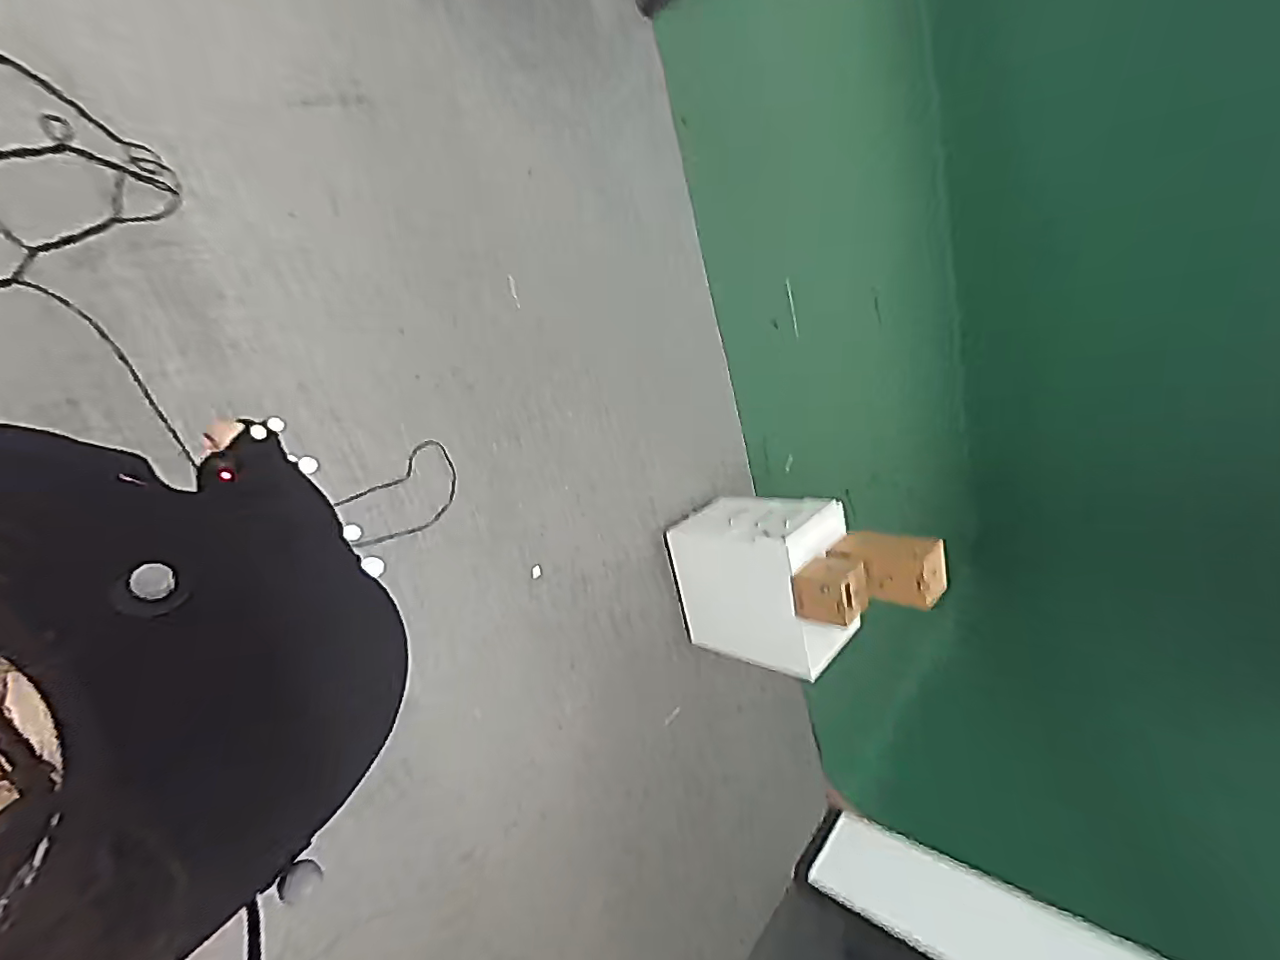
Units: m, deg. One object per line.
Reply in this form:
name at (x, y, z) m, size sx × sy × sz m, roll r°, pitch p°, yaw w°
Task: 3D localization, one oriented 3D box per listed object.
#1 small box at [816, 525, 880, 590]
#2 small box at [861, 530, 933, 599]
small box at (0.761, 0.272, 1.958) m, size 0.179 × 0.176 × 0.168 m, roll -28°, pitch 110°, yaw -39°
small box at (0.875, 0.280, 1.841) m, size 0.179 × 0.176 × 0.168 m, roll -25°, pitch 109°, yaw -38°
